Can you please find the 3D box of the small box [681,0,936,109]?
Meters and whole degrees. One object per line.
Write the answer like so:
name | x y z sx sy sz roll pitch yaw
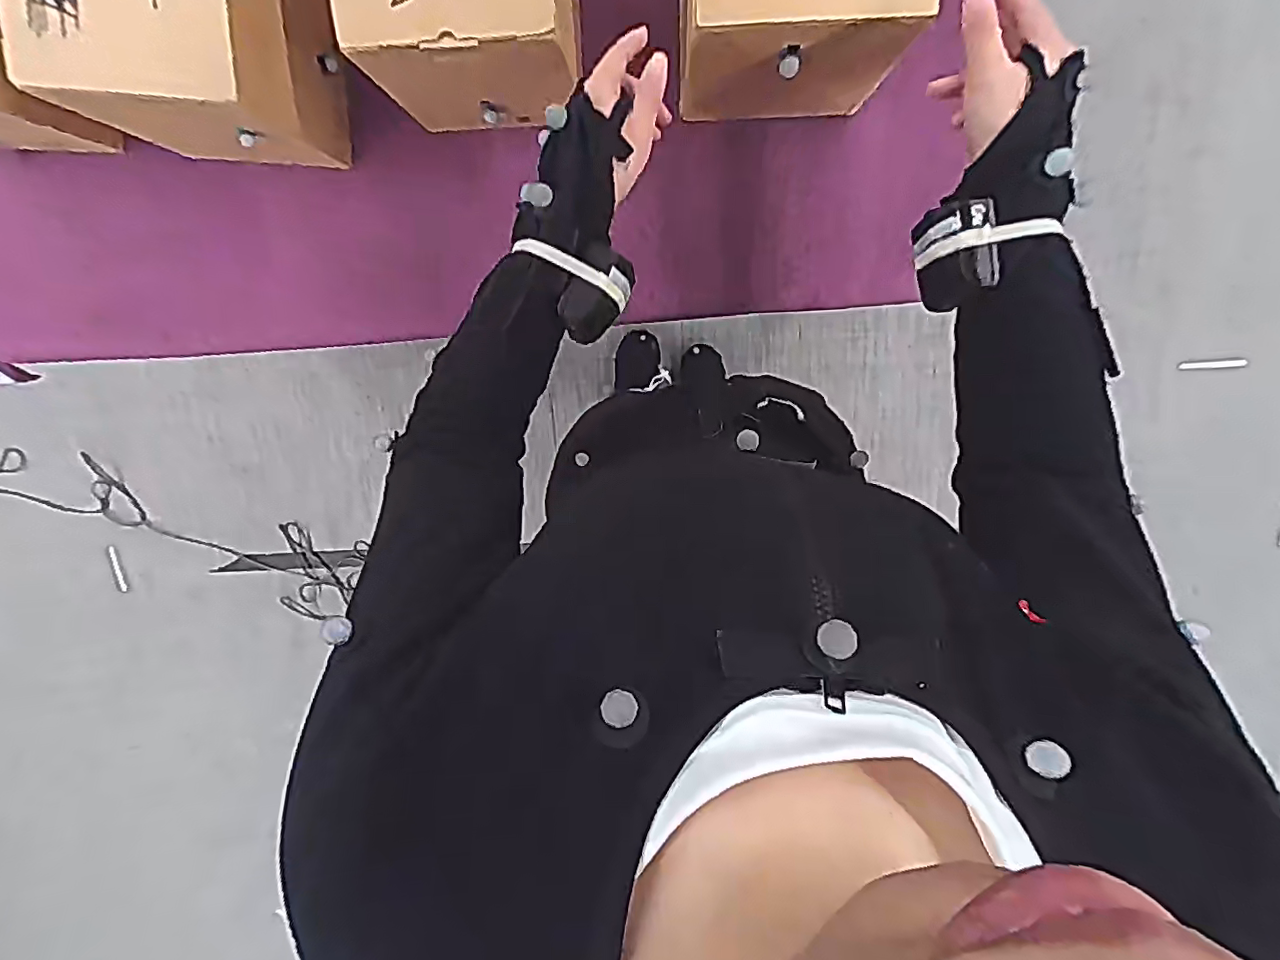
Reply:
small box | 0.125 -0.432 0.444 0.179 0.176 0.168 -1 104 3

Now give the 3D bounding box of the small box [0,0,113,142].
small box | -0.620 -0.415 0.468 0.168 0.176 0.179 2 105 0

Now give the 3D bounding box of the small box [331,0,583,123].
small box | -0.143 -0.432 0.452 0.168 0.176 0.179 -2 105 3
